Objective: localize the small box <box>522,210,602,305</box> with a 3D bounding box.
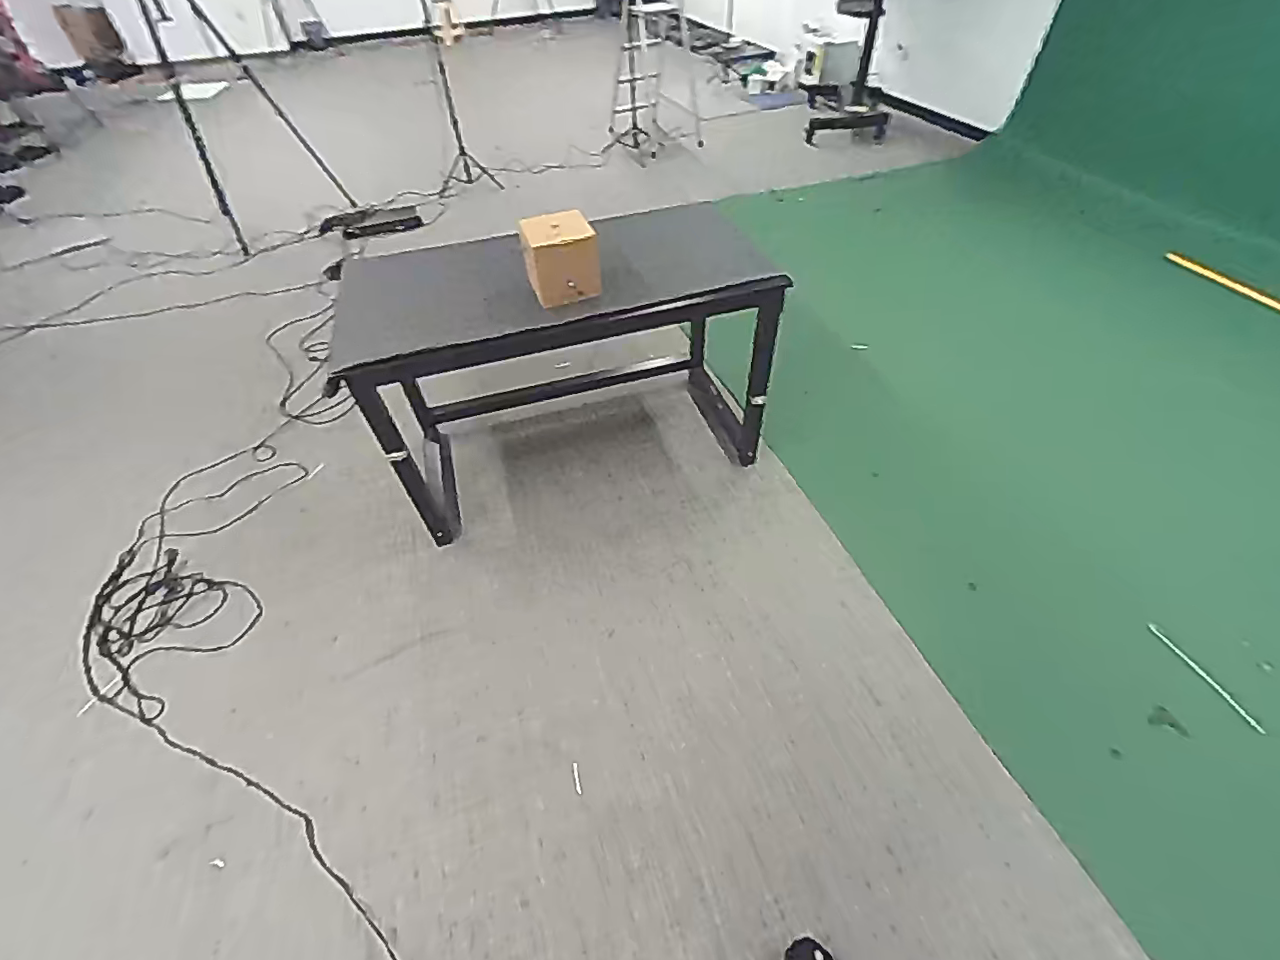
[{"bbox_3d":[-0.206,-0.592,1.441,0.168,0.176,0.179,-17,49,-12],"label":"small box"}]
